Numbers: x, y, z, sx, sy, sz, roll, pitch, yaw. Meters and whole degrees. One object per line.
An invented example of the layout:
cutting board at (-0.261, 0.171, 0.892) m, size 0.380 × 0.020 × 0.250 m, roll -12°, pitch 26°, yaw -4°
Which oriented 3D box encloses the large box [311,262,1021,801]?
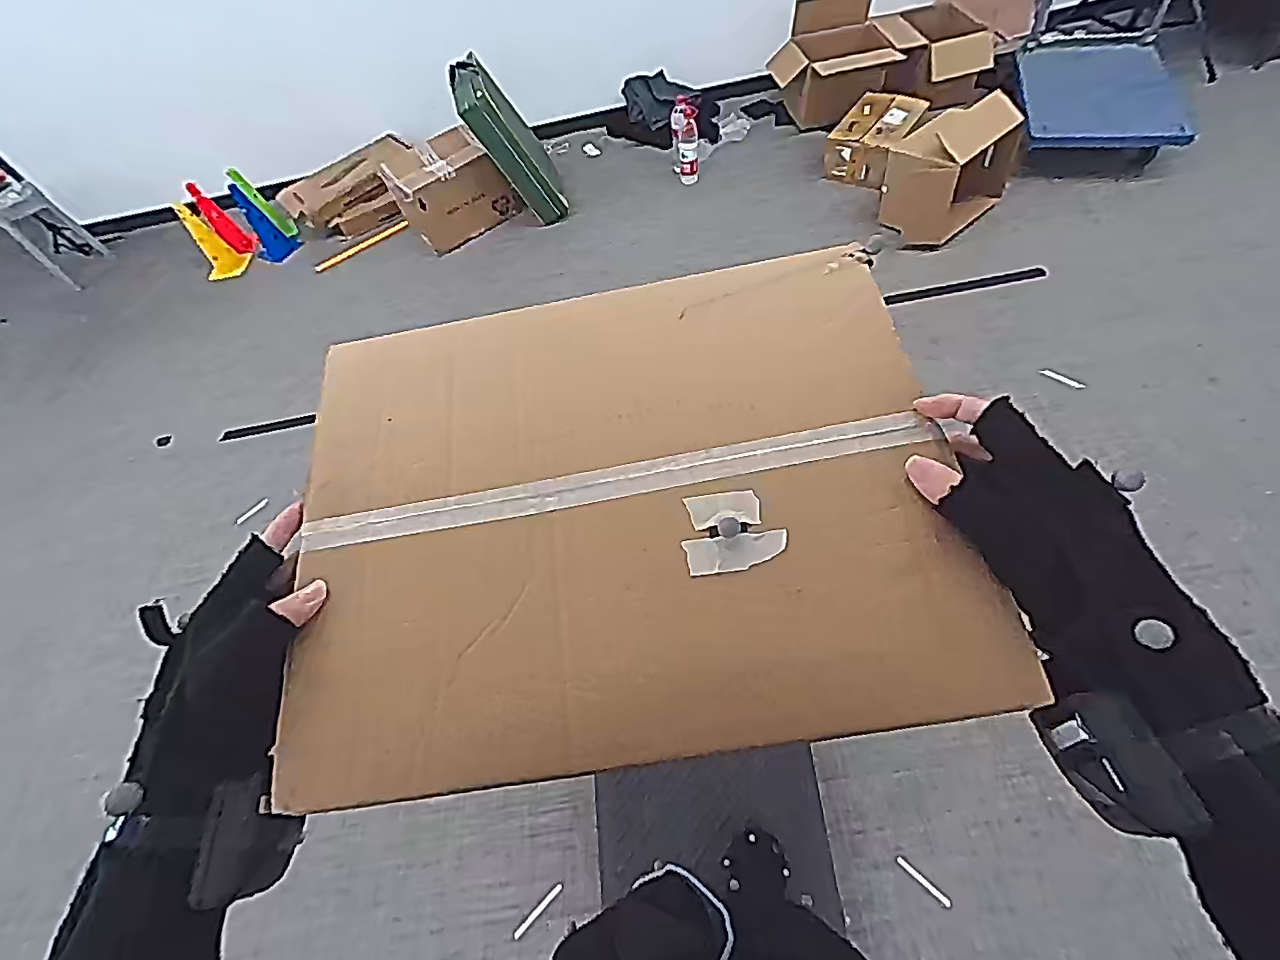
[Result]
large box at (0.004, 0.067, 0.490) m, size 0.408 × 0.320 × 0.320 m, roll -10°, pitch 66°, yaw 3°
